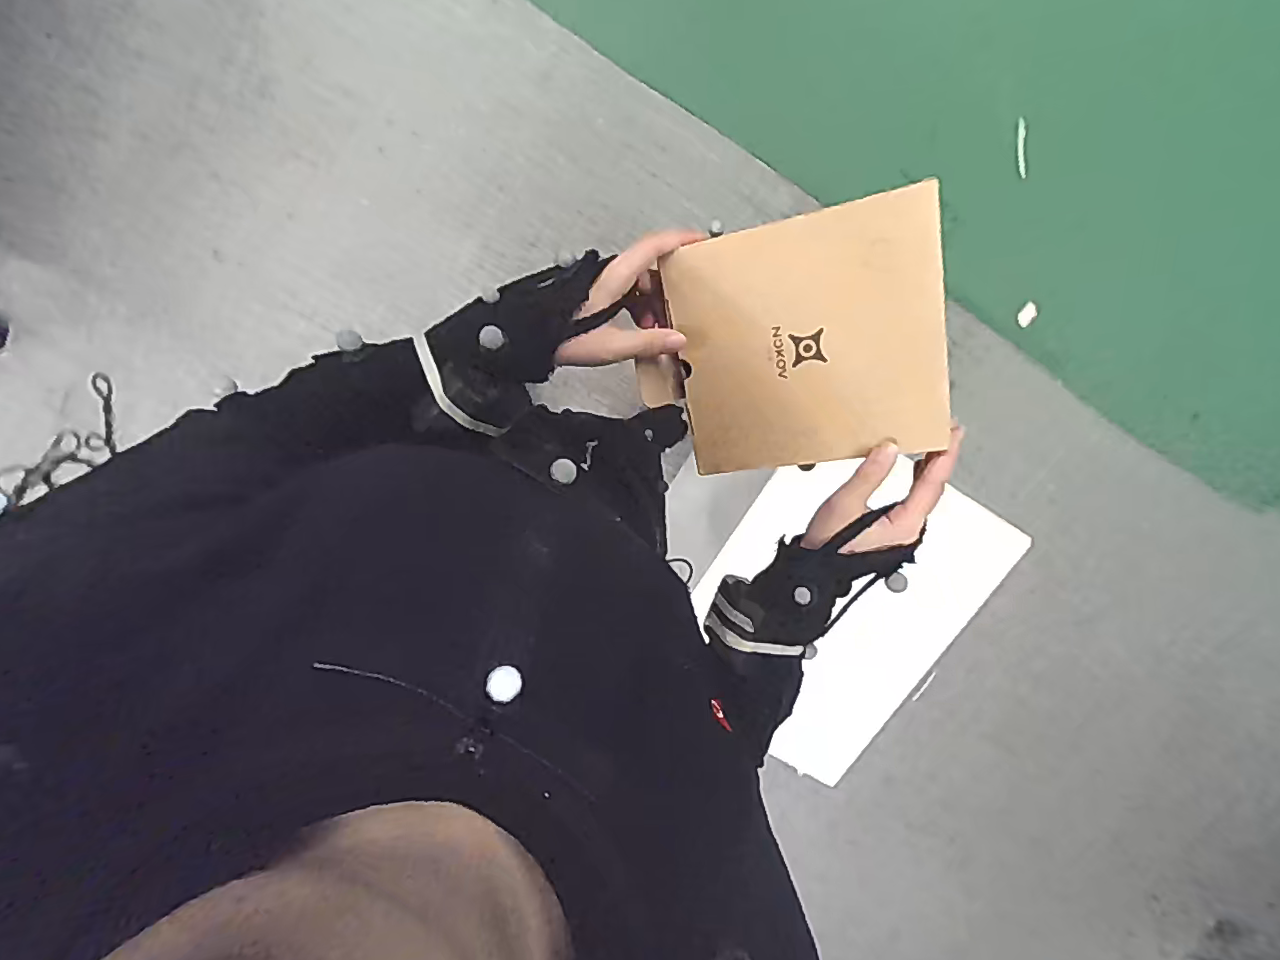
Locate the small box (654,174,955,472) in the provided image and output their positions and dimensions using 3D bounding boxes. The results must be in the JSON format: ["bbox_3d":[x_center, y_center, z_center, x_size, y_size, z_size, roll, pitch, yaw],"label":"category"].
[{"bbox_3d":[0.130,-0.120,0.429,0.179,0.176,0.168,-7,108,22],"label":"small box"}]
